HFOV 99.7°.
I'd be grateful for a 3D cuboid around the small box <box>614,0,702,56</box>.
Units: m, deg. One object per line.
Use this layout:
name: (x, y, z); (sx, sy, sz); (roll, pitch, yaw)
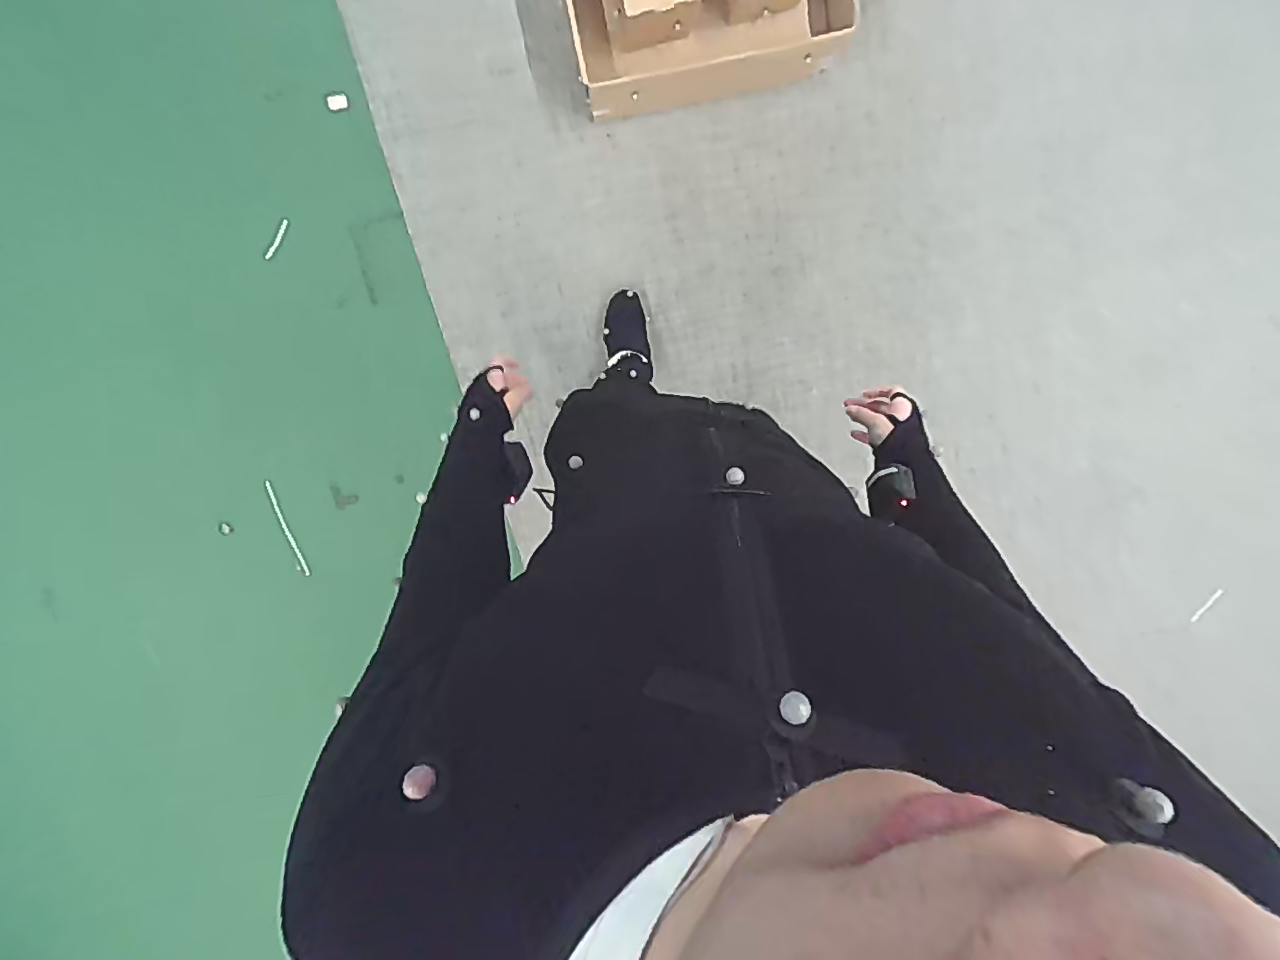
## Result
small box: (0.031, -1.074, 1.187); (0.168, 0.176, 0.179); (-14, 106, 0)
